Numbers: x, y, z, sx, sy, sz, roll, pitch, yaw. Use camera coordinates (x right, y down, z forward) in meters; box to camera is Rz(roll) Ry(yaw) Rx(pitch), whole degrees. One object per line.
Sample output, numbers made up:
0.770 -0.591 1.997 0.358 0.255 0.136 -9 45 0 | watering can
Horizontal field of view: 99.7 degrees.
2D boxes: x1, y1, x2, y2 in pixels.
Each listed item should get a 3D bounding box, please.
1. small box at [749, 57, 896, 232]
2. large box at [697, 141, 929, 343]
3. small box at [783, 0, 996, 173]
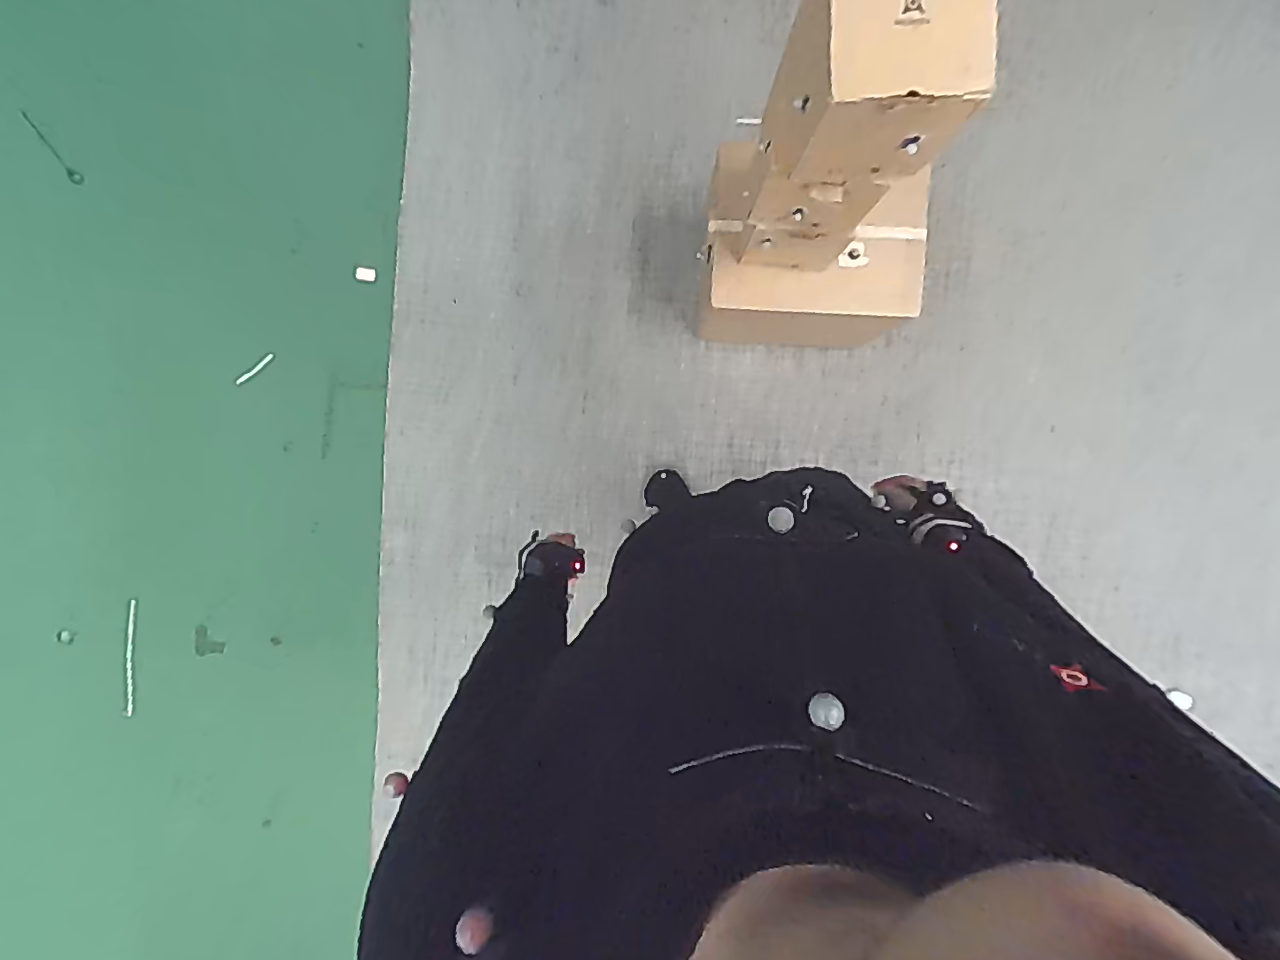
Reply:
0.259 -0.484 0.768 0.168 0.176 0.179 9 93 0 | small box
0.340 -0.487 1.174 0.408 0.320 0.320 3 94 0 | large box
0.264 -0.469 0.606 0.168 0.176 0.179 -2 93 0 | small box
